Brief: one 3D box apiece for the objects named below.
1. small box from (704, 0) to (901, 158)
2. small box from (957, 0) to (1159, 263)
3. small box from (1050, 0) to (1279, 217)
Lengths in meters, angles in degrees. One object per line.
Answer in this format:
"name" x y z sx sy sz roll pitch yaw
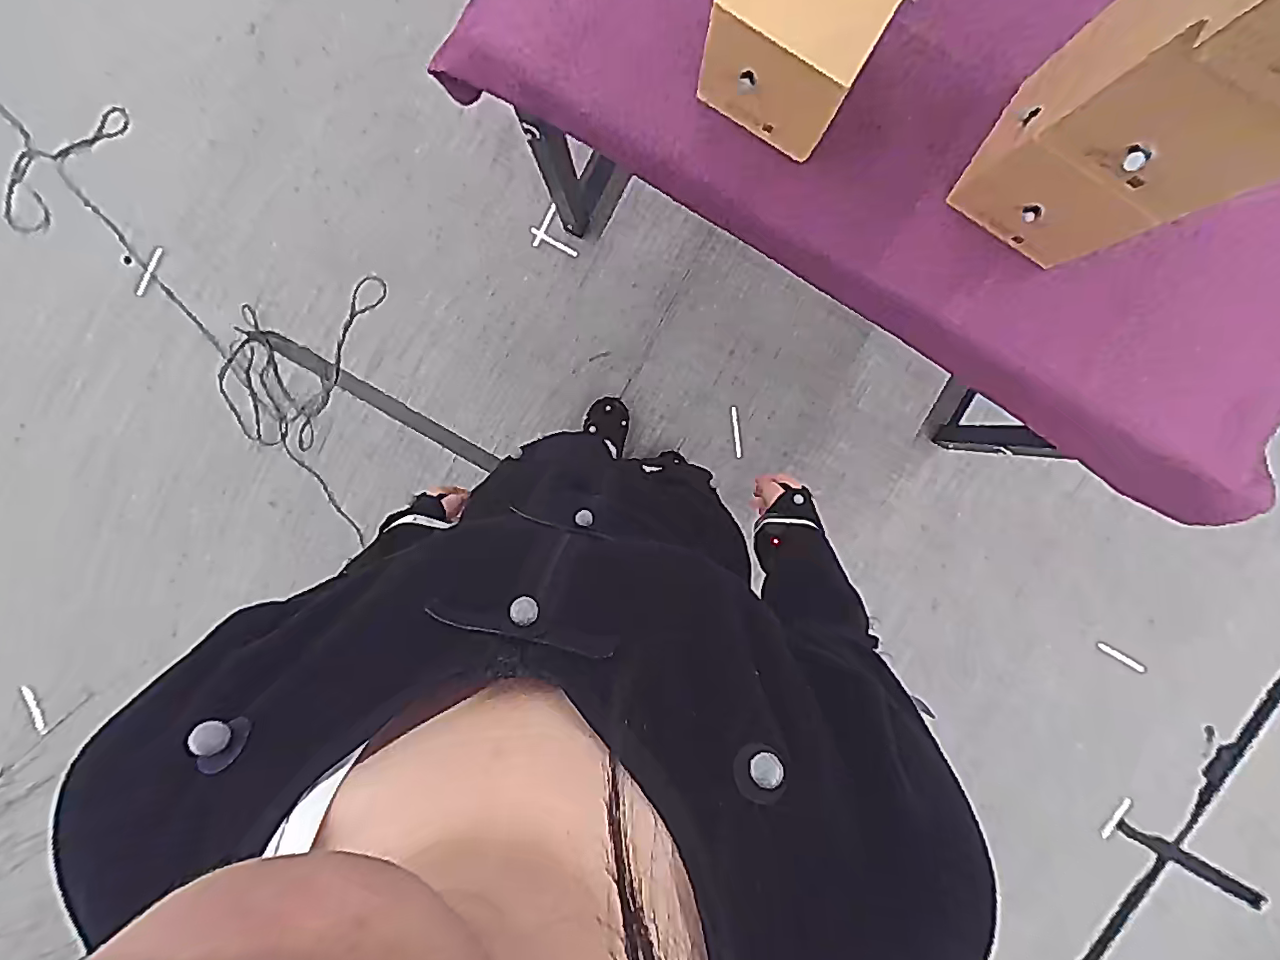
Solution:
"small box" 0.186 -0.520 0.622 0.168 0.176 0.179 30 94 -3
"small box" 0.516 -0.389 0.634 0.168 0.176 0.179 32 95 -3
"small box" 0.520 -0.373 0.471 0.168 0.176 0.179 32 96 -3
